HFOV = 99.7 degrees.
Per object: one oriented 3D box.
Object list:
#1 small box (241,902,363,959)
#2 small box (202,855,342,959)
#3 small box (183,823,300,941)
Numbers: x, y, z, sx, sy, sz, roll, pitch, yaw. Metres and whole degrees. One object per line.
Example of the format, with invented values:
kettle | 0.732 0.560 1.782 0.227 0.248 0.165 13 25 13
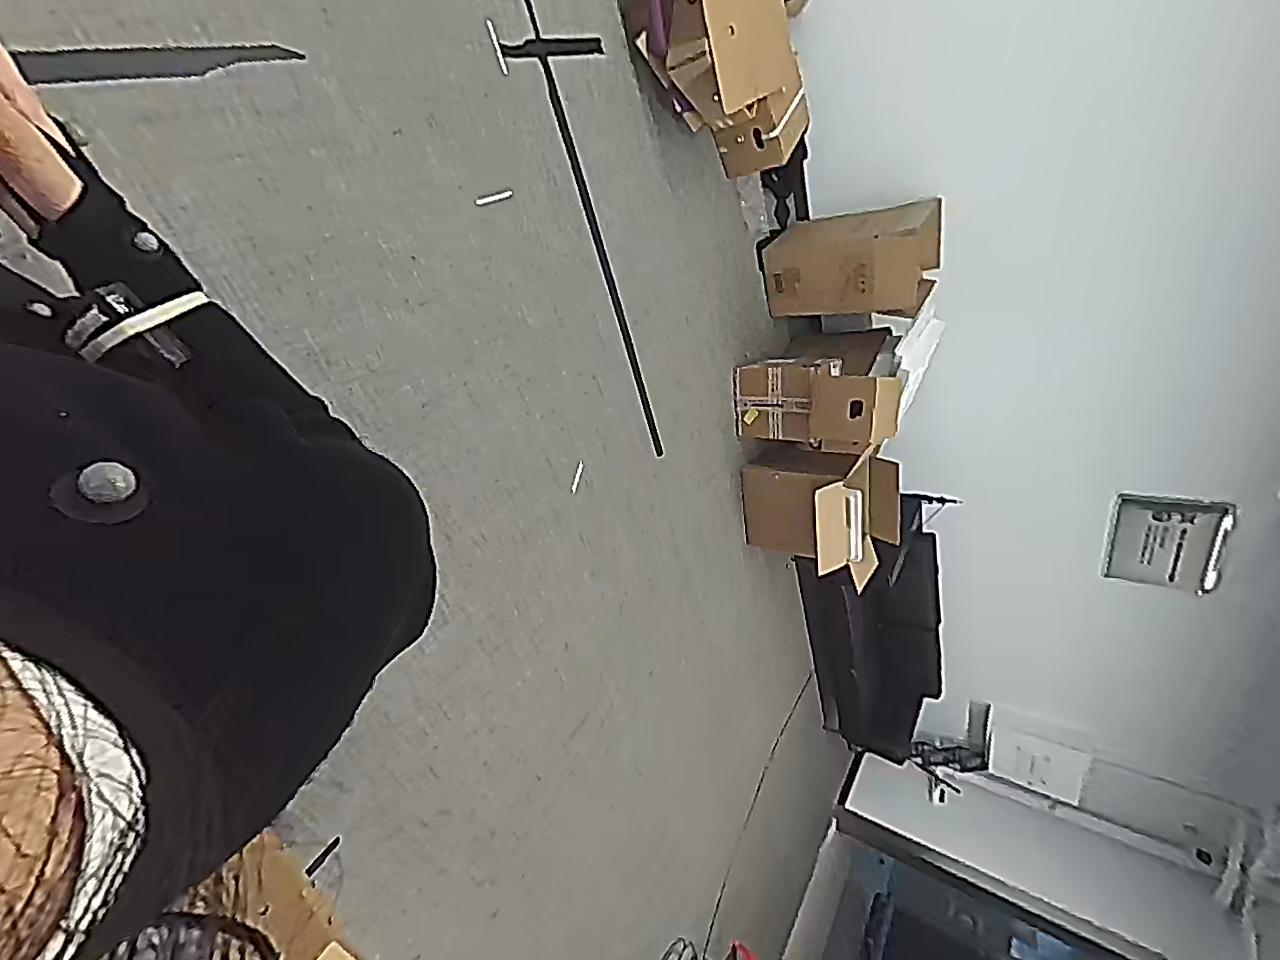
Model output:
small box | -0.696 1.018 1.107 0.168 0.176 0.179 -43 127 -40
small box | -0.822 0.995 1.210 0.179 0.176 0.168 -43 127 -41
small box | -0.955 0.985 1.307 0.179 0.176 0.168 -45 129 -39
